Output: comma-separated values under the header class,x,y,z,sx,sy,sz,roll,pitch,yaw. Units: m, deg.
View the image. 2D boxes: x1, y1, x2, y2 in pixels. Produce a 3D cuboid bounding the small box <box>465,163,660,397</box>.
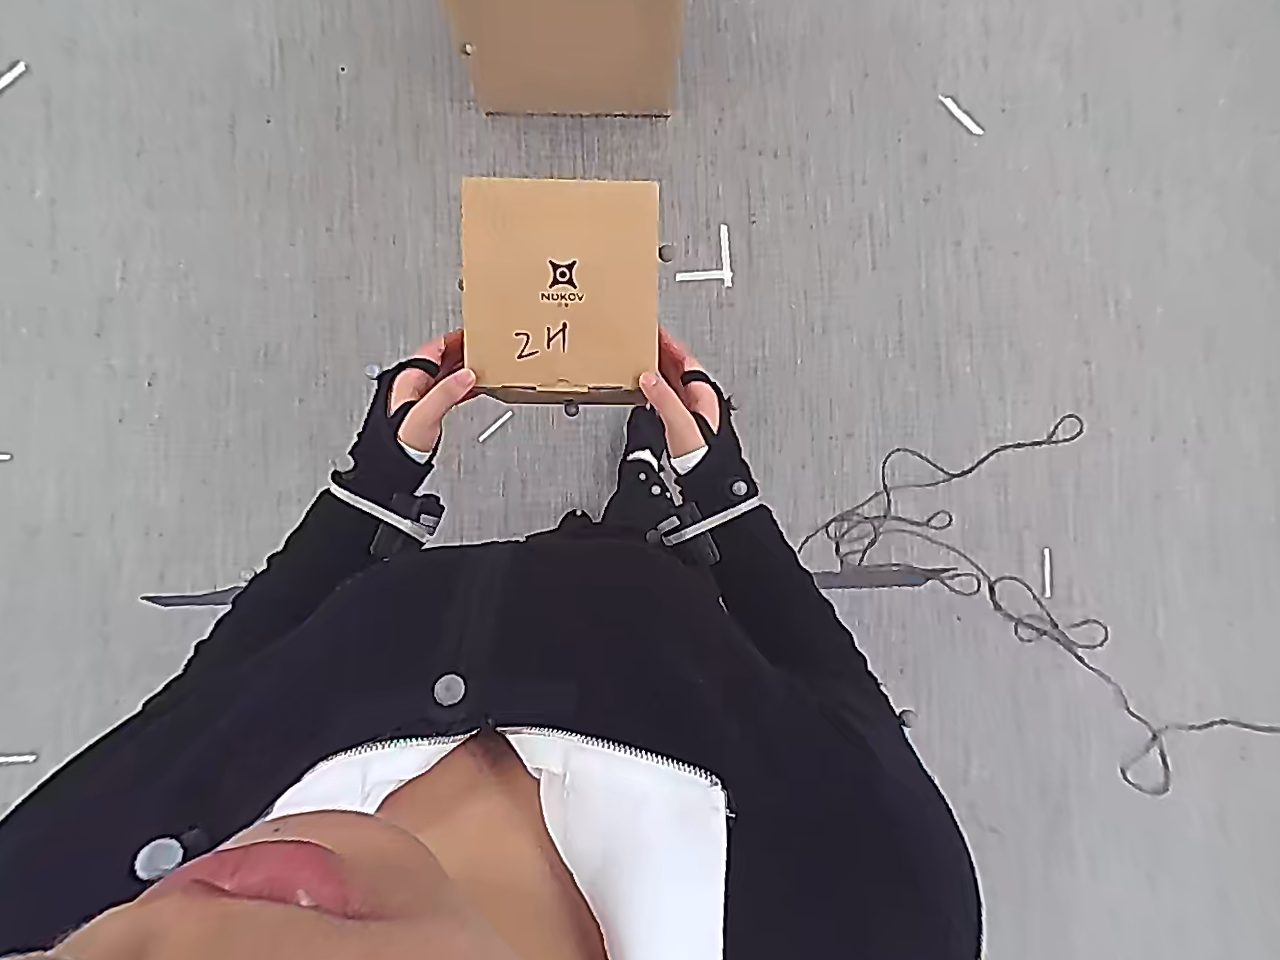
class,x,y,z,sx,sy,sz,roll,pitch,yaw
small box,-0.069,-0.181,0.538,0.168,0.176,0.179,0,93,-2
